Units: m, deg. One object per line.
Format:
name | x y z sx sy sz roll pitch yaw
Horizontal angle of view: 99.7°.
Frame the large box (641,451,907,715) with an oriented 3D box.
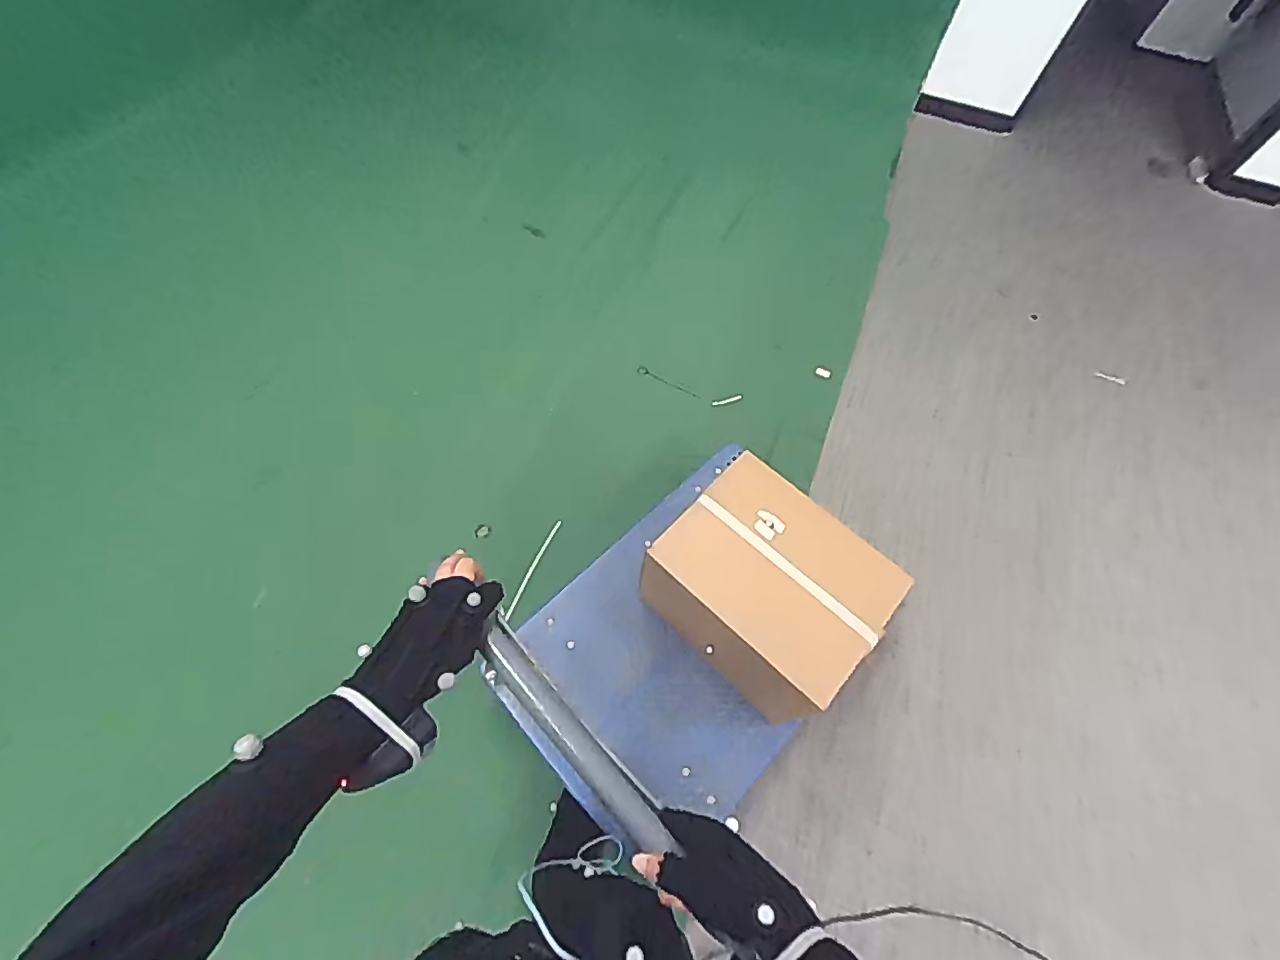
large box | 0.249 0.223 1.138 0.408 0.320 0.320 41 67 18
